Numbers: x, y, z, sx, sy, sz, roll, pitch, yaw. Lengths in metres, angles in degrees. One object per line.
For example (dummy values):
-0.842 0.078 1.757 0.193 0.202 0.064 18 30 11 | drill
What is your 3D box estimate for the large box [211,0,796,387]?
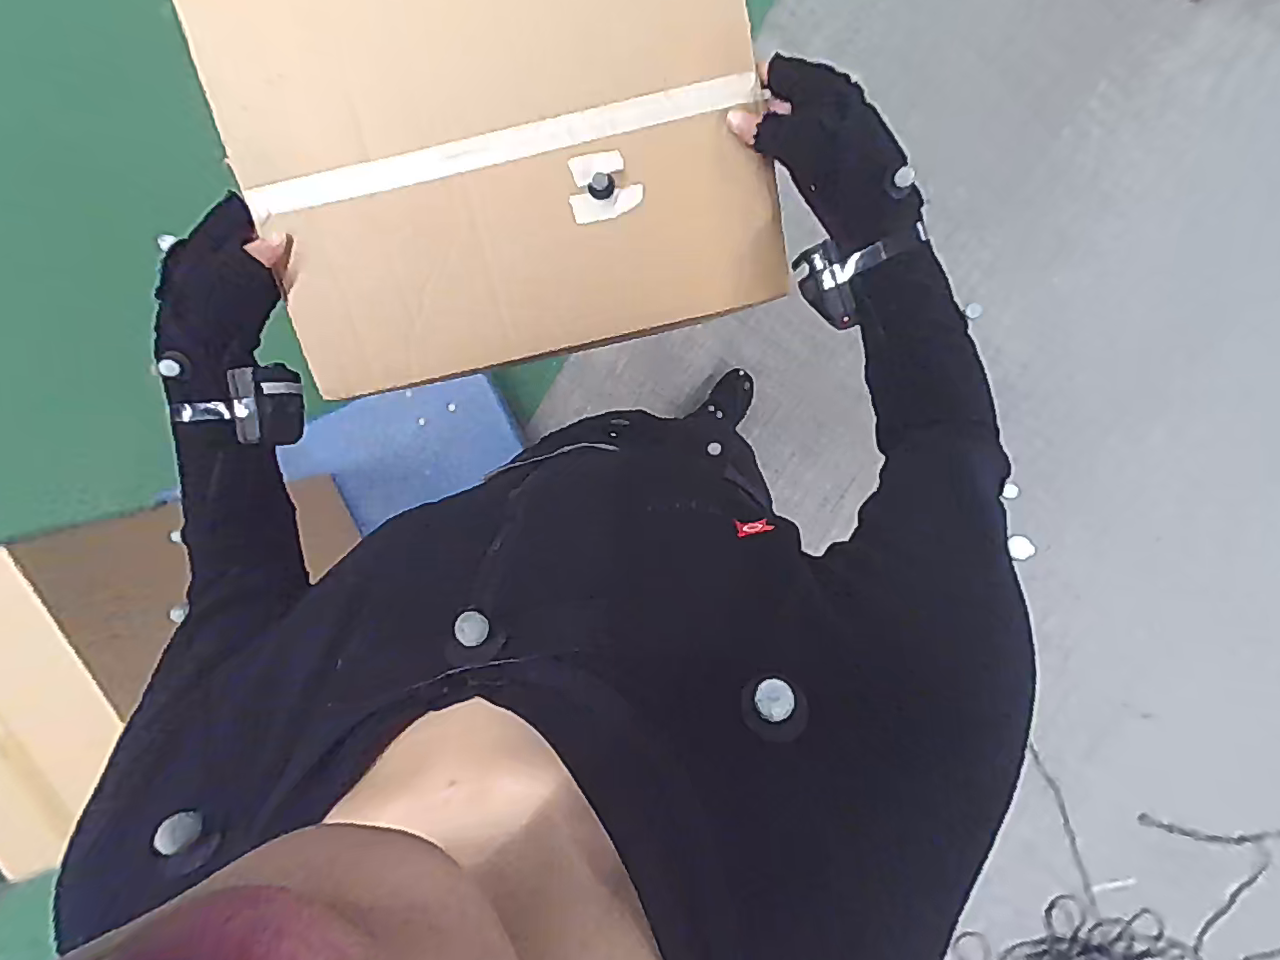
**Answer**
-0.102 -0.299 0.570 0.408 0.320 0.320 -13 104 -2 | large box
